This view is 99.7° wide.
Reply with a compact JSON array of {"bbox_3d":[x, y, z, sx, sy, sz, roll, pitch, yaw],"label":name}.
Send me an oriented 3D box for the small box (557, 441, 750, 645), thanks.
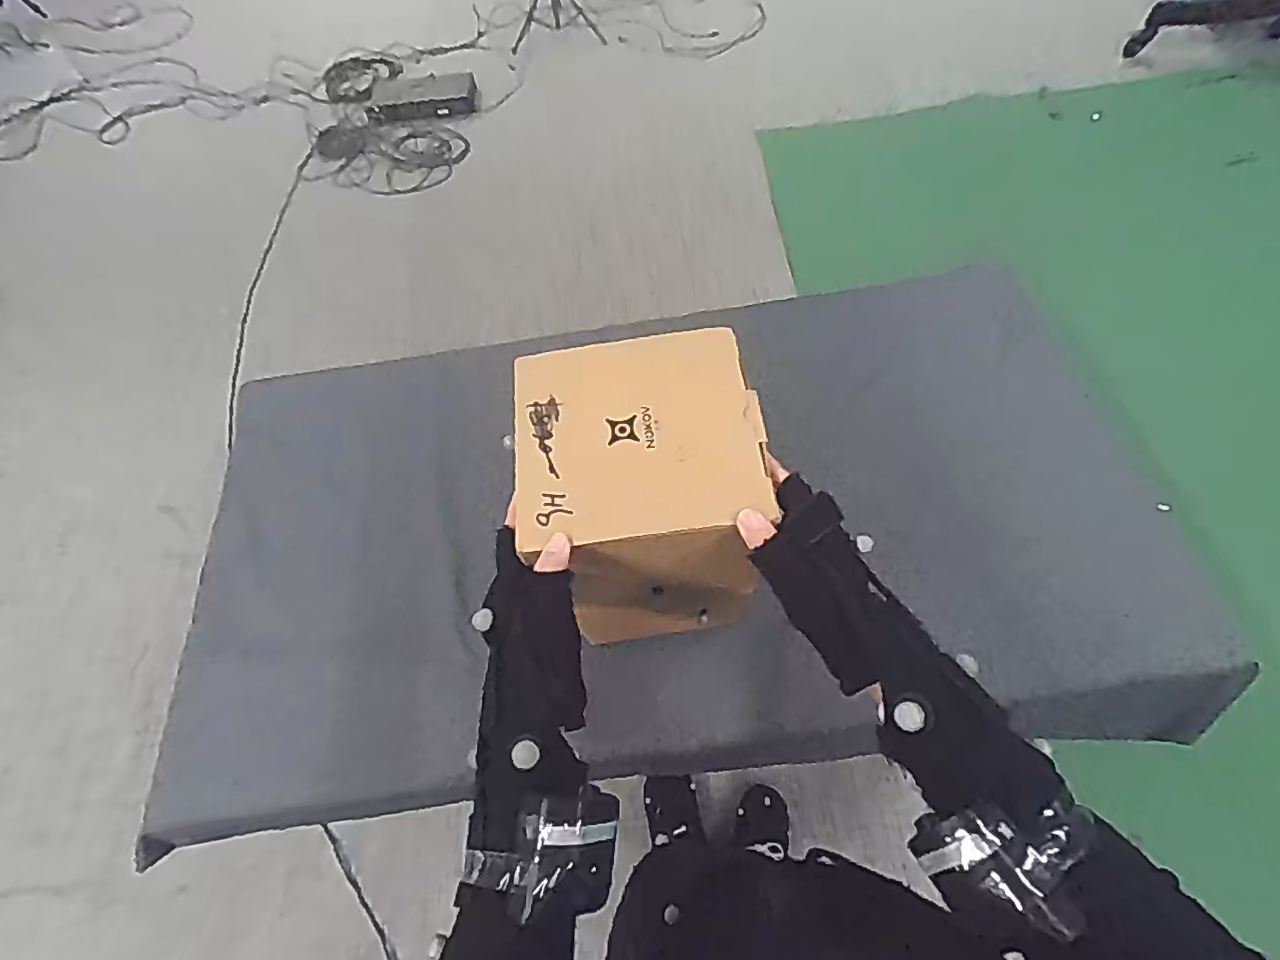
[{"bbox_3d":[0.014,0.079,0.612,0.179,0.176,0.168,-10,61,1],"label":"small box"}]
